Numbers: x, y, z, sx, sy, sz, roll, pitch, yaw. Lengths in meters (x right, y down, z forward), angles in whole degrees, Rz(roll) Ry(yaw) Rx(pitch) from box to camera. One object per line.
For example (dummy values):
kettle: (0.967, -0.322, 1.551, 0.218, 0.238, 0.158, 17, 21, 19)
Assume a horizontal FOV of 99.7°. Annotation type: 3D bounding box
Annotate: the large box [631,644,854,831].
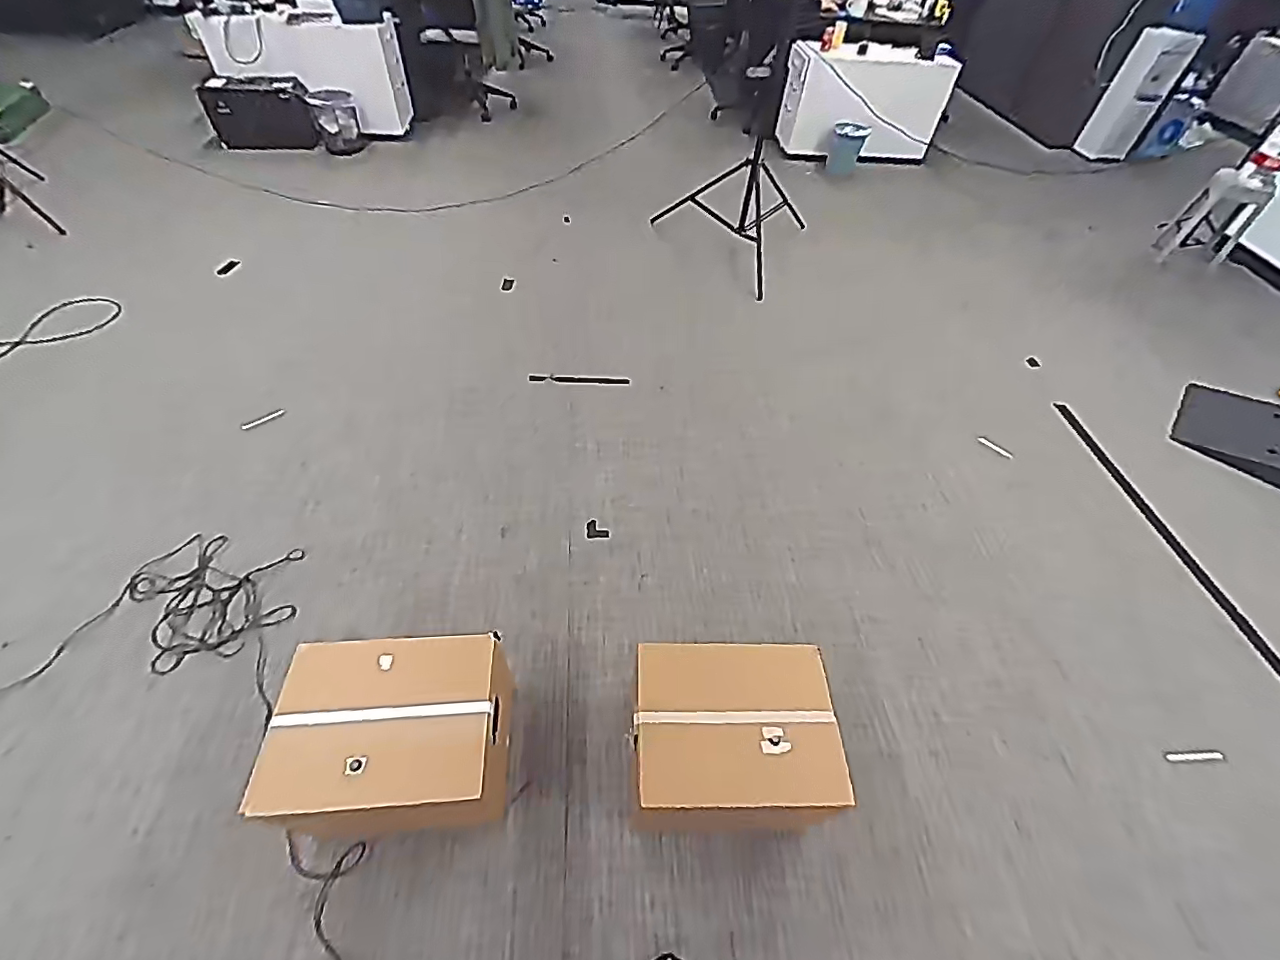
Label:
large box: (0.191, 0.577, 1.210, 0.408, 0.320, 0.320, 2, 50, -4)
